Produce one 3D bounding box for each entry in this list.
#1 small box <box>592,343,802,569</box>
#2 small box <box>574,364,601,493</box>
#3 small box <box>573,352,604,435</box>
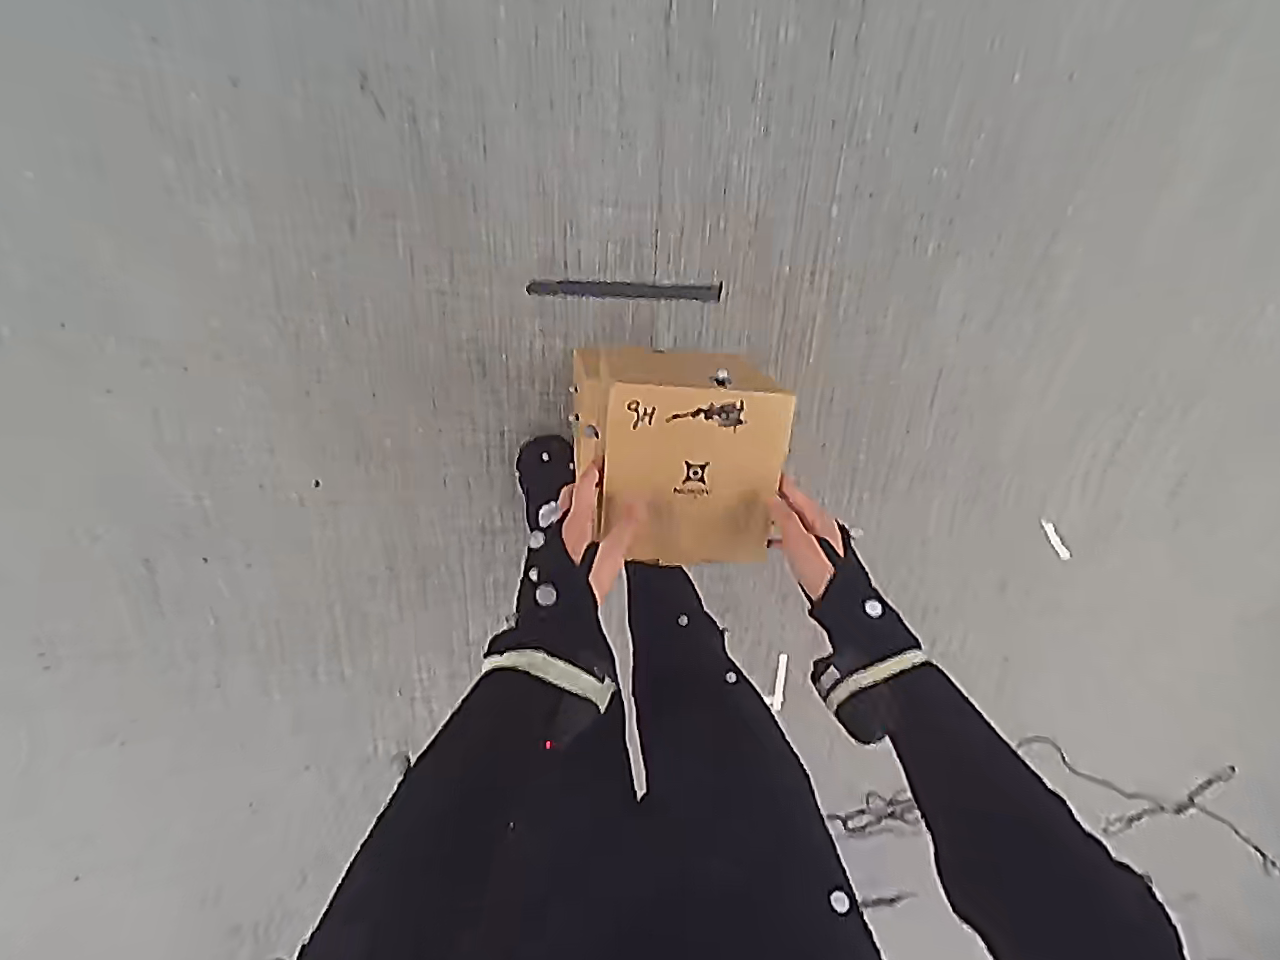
[{"bbox_3d":[0.040,-0.029,0.552,0.168,0.176,0.179,2,115,-9],"label":"small box"},{"bbox_3d":[-0.009,-0.081,0.835,0.179,0.176,0.168,2,110,-10],"label":"small box"},{"bbox_3d":[-0.028,-0.141,0.988,0.179,0.176,0.168,0,110,-10],"label":"small box"}]
